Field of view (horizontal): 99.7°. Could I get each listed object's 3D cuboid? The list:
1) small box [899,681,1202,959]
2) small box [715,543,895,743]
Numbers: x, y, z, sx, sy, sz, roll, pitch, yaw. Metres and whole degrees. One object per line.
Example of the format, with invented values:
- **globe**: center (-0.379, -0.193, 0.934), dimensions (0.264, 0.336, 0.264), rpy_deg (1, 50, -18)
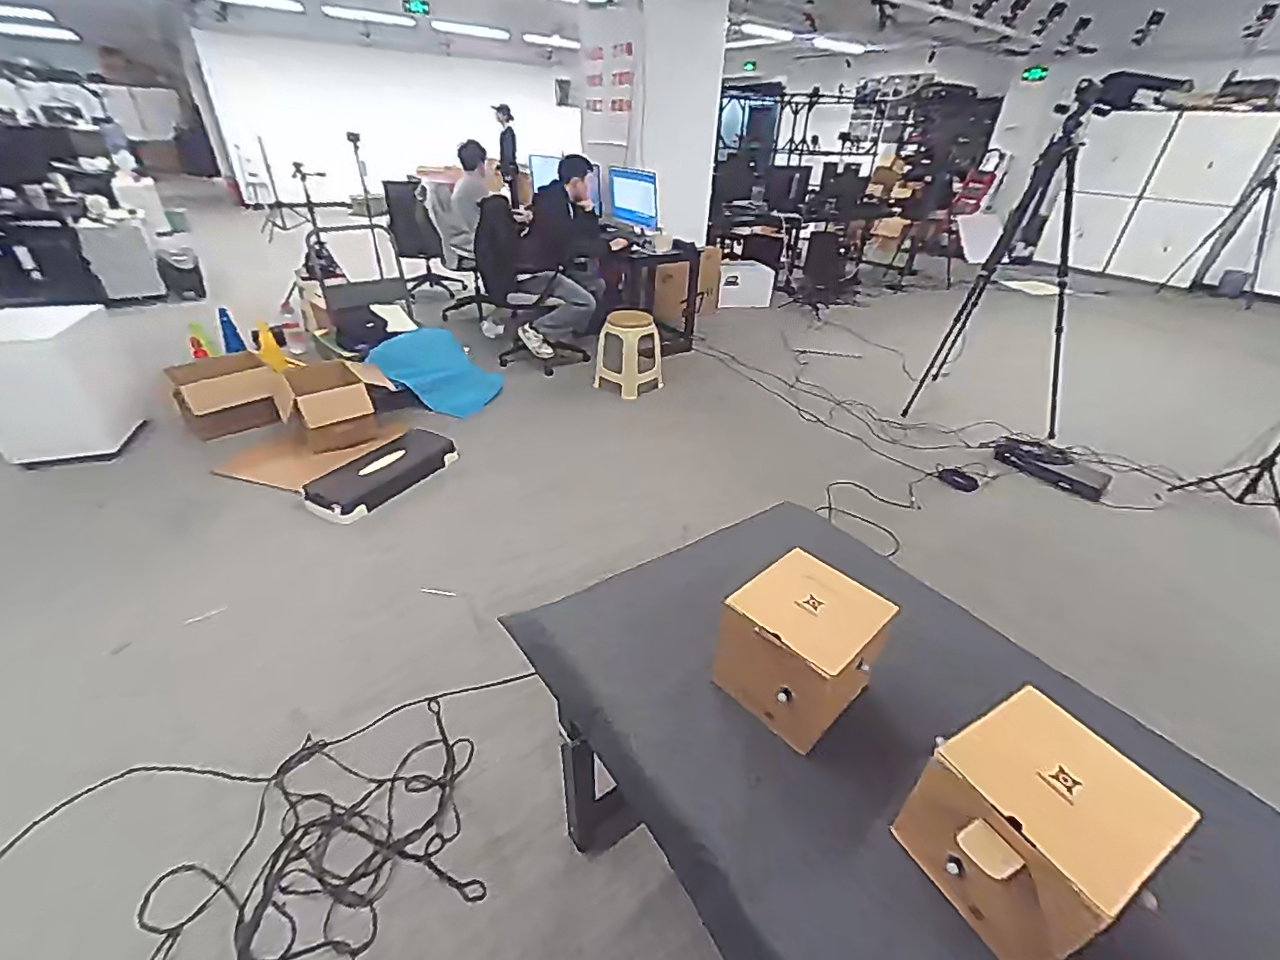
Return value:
- **small box**: center (0.411, 0.356, 0.571), dimensions (0.179, 0.176, 0.168), rpy_deg (-15, 37, -25)
- **small box**: center (0.221, 0.225, 0.761), dimensions (0.179, 0.176, 0.168), rpy_deg (-24, 43, -37)
